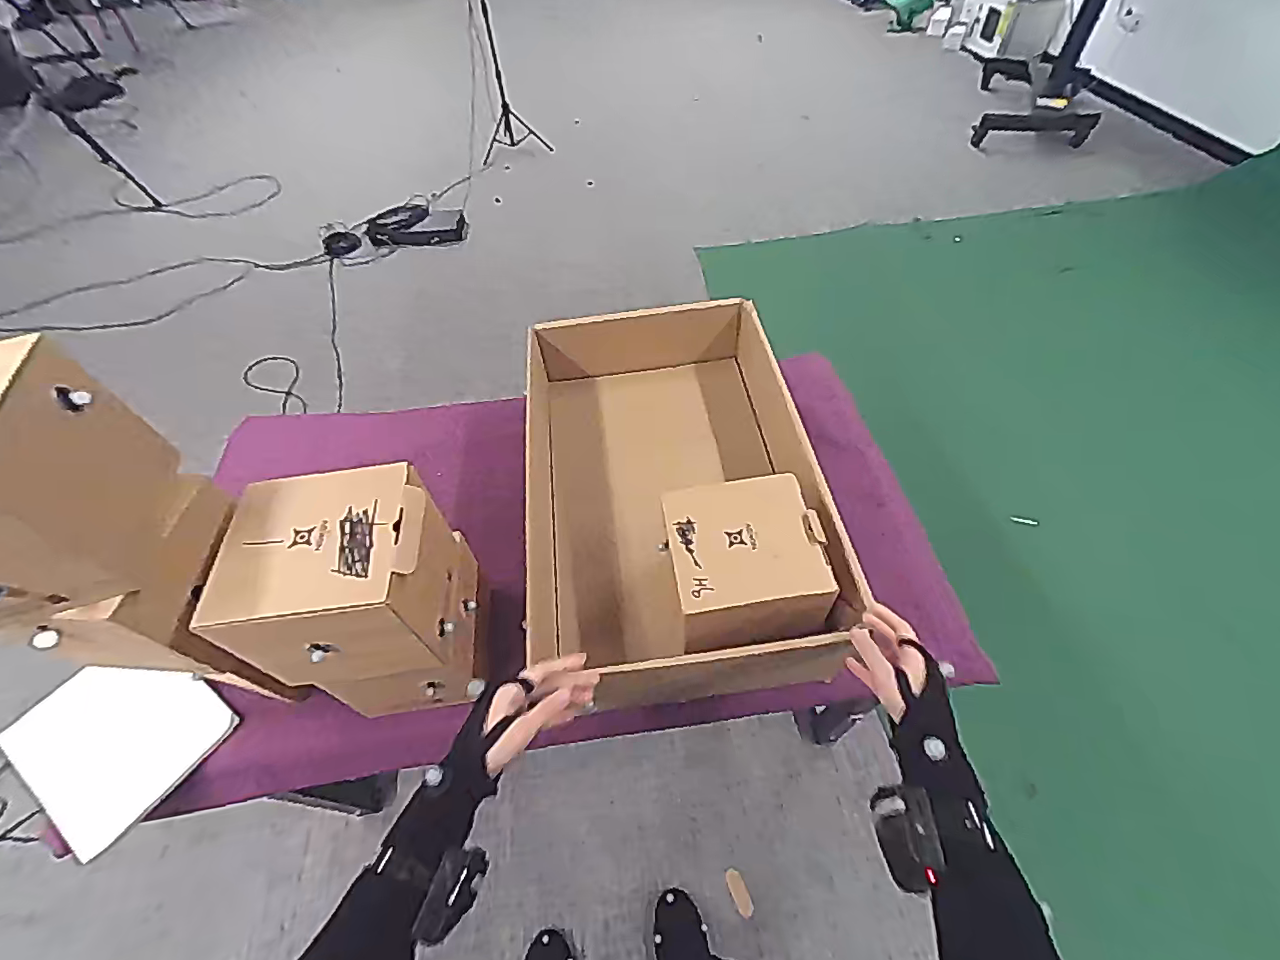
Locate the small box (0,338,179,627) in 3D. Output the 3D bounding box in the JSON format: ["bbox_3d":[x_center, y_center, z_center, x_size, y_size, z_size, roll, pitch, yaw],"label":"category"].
[{"bbox_3d":[-0.562,0.009,0.477,0.168,0.176,0.179,-16,54,-8],"label":"small box"}]

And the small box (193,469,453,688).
[{"bbox_3d":[-0.316,0.111,0.591,0.179,0.176,0.168,-7,51,-4],"label":"small box"}]
